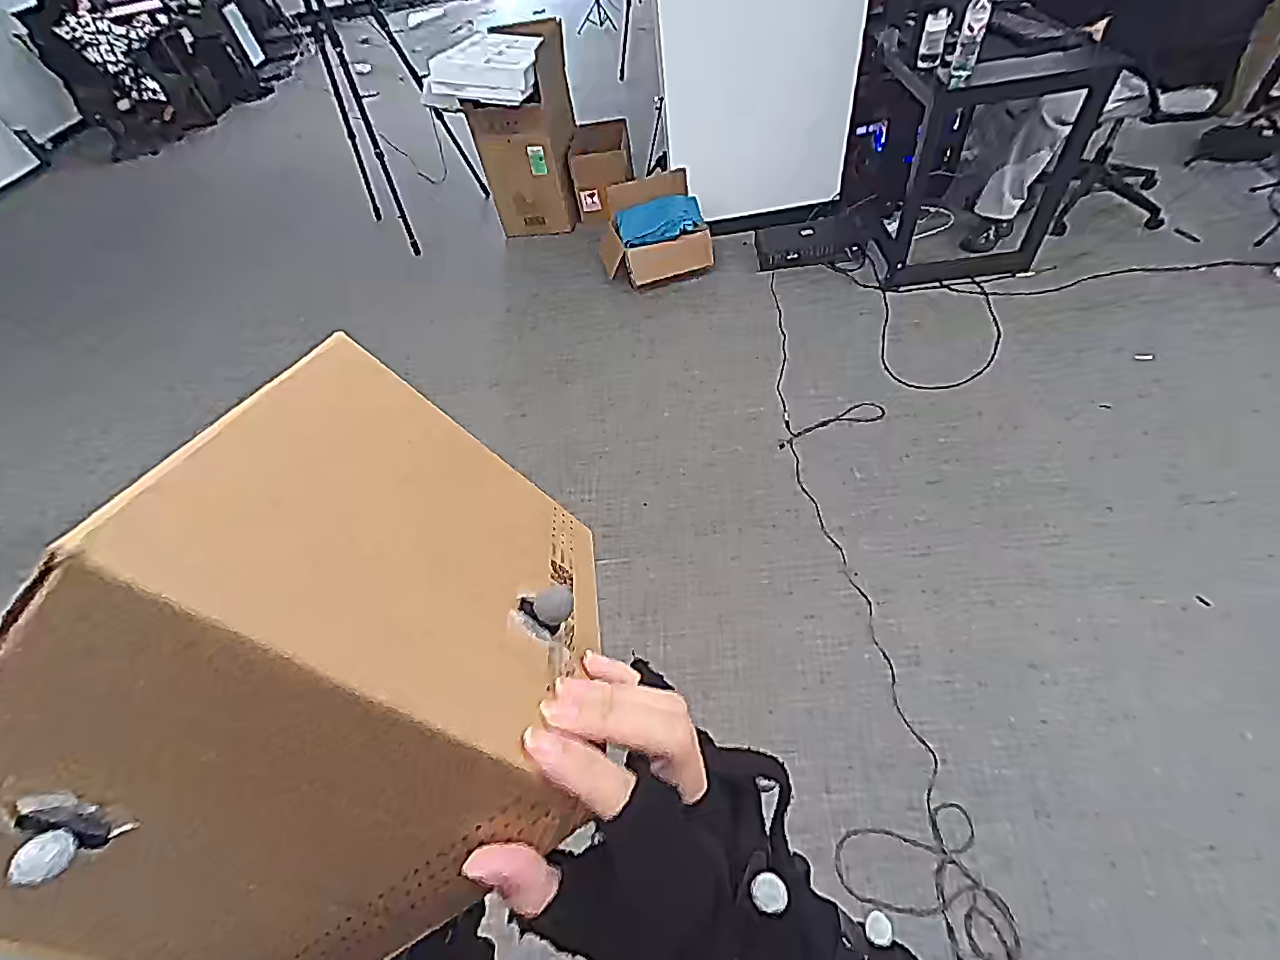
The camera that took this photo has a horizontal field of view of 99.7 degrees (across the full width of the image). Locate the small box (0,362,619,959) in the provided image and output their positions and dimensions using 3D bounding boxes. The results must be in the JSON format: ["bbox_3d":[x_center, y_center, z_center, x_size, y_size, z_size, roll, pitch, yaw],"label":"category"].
[{"bbox_3d":[-0.133,0.083,0.257,0.179,0.176,0.168,-40,28,14],"label":"small box"}]
